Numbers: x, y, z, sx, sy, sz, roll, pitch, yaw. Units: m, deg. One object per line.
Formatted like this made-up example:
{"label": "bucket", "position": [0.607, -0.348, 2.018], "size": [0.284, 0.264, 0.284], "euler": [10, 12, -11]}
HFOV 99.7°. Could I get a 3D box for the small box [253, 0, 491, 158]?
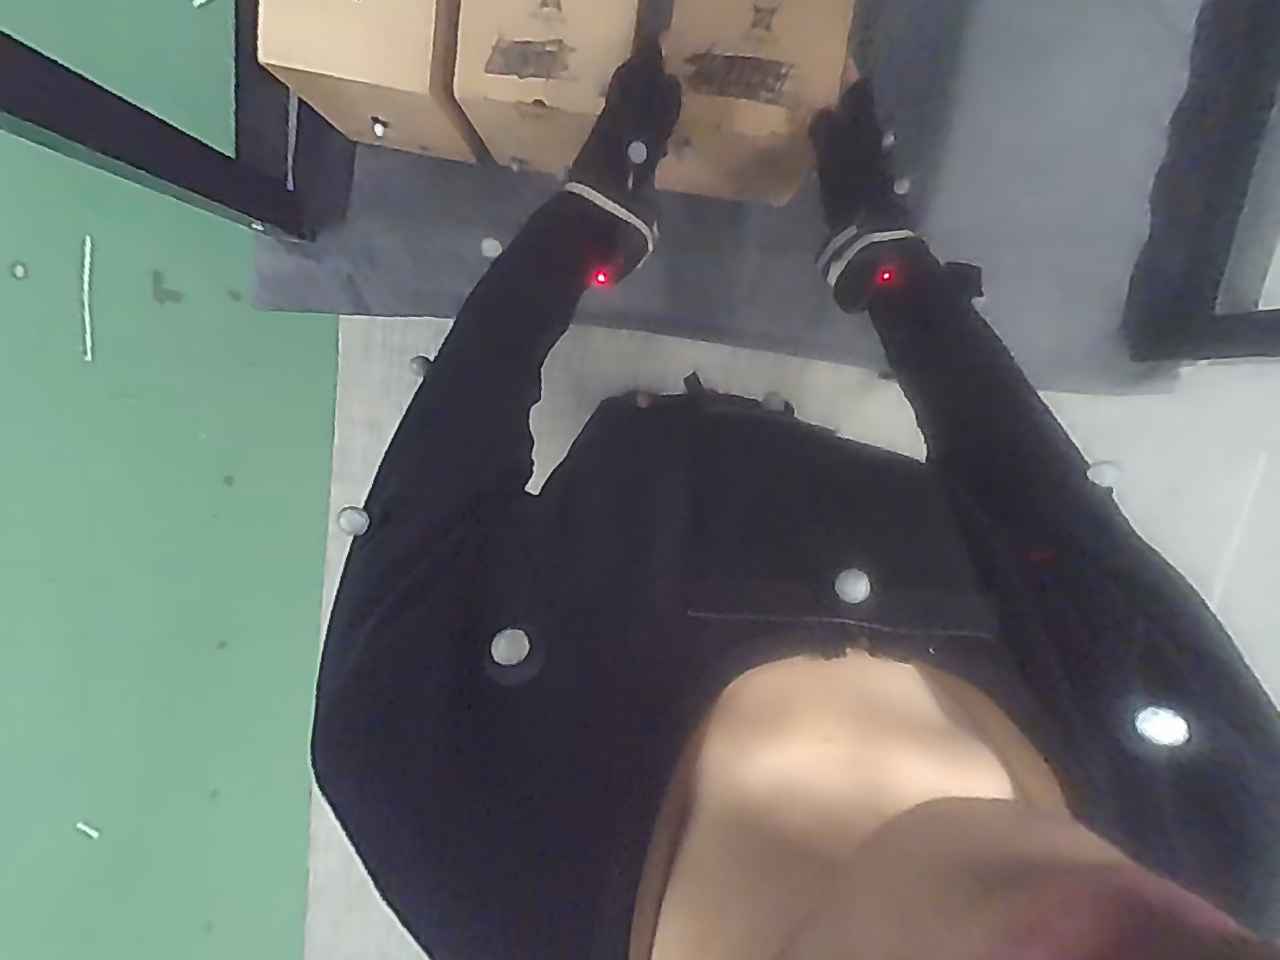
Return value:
{"label": "small box", "position": [-0.266, -0.474, 0.572], "size": [0.168, 0.176, 0.179], "euler": [10, 99, -3]}
